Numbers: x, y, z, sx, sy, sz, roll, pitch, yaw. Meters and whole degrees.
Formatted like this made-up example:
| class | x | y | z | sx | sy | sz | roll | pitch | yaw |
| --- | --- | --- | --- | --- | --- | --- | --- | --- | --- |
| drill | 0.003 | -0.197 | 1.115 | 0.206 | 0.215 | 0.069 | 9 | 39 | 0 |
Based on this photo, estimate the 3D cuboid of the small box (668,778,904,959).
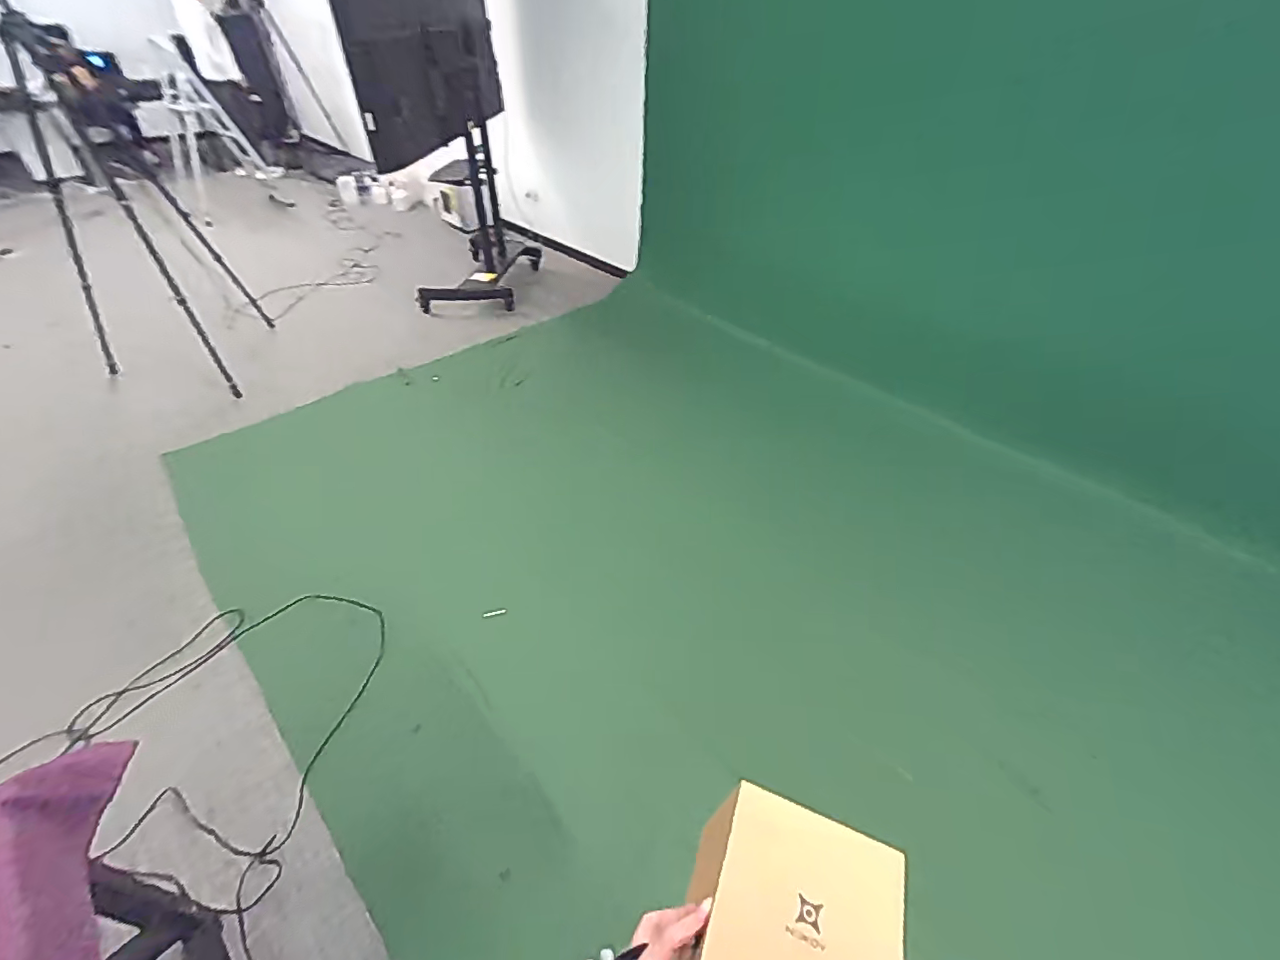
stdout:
| class | x | y | z | sx | sy | sz | roll | pitch | yaw |
| --- | --- | --- | --- | --- | --- | --- | --- | --- | --- |
| small box | 0.133 | 0.434 | 0.524 | 0.168 | 0.176 | 0.179 | 20 | 46 | 10 |
